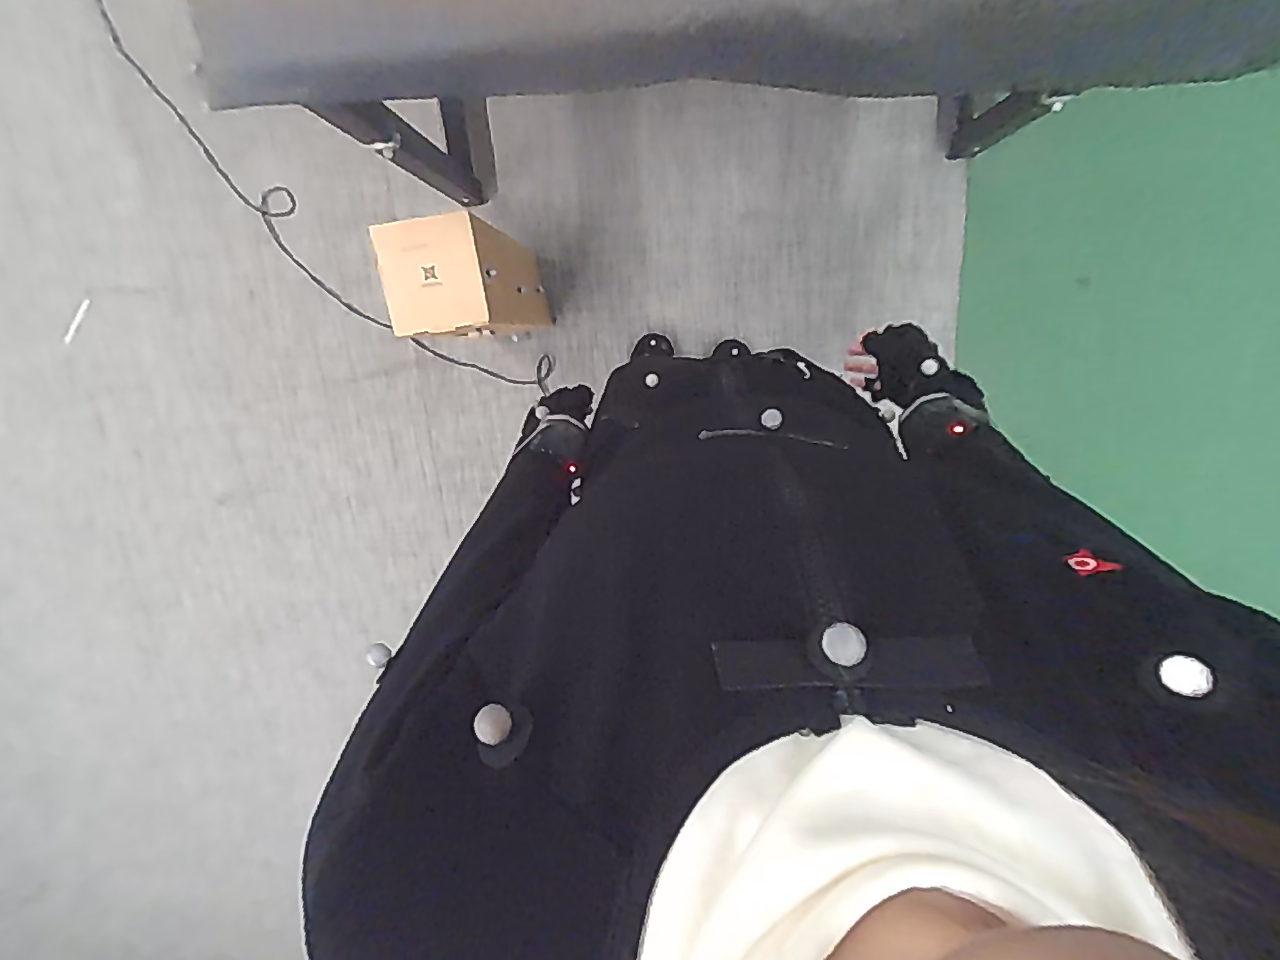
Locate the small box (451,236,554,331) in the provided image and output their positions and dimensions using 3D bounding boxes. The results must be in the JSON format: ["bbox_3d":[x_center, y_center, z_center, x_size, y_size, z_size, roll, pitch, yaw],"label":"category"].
[{"bbox_3d":[-0.312,-0.448,1.260,0.168,0.176,0.179,-10,106,6],"label":"small box"}]
